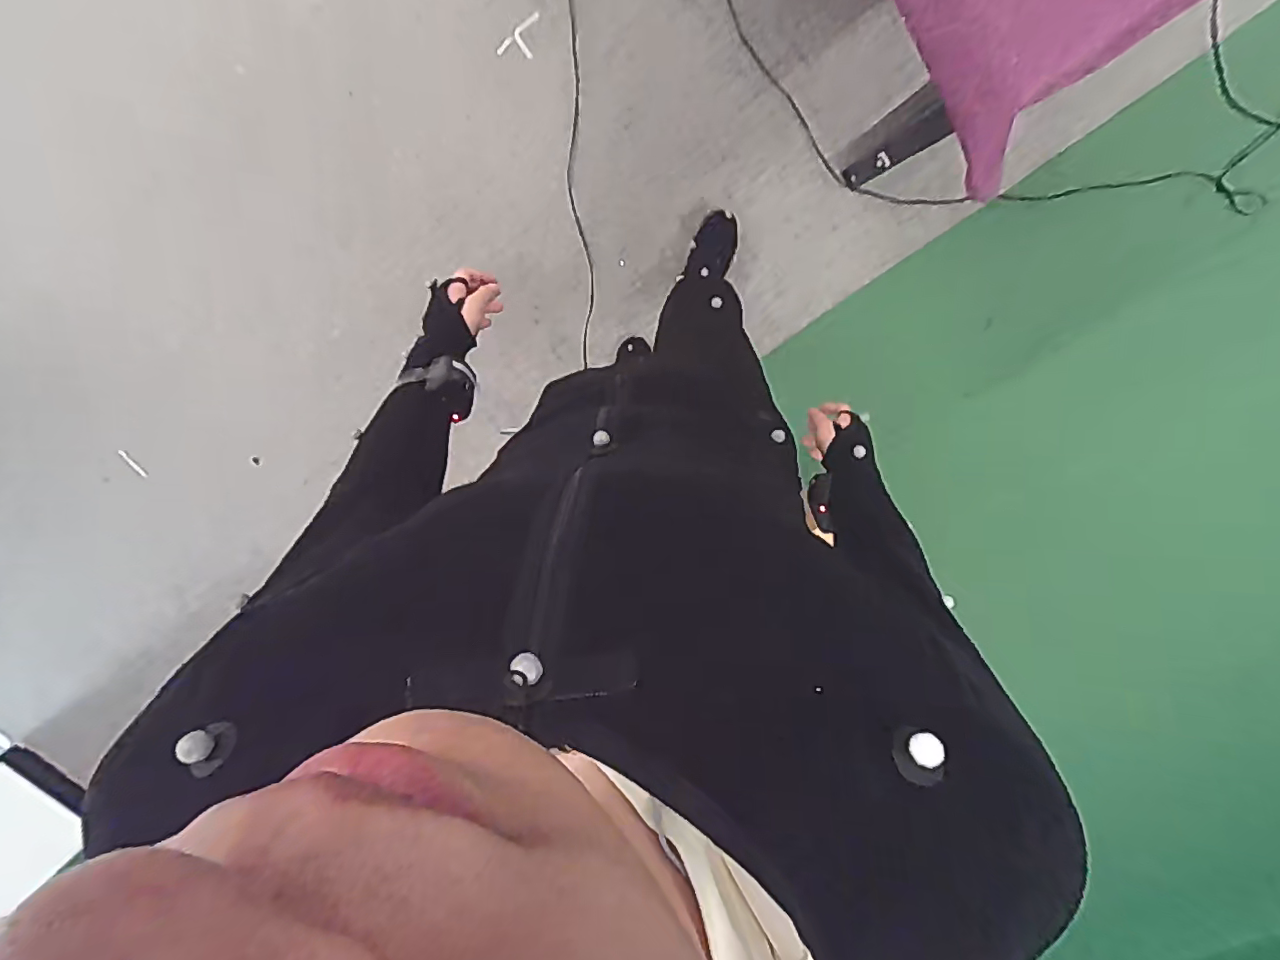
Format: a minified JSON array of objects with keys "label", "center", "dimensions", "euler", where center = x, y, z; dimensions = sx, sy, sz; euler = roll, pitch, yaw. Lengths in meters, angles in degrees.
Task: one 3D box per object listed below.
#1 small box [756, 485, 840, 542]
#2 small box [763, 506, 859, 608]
[{"label":"small box","center":[0.460,0.143,1.599],"dimensions":[0.179,0.176,0.168],"euler":[-34,104,13]},{"label":"small box","center":[0.446,0.201,1.447],"dimensions":[0.179,0.176,0.168],"euler":[-37,103,14]}]
